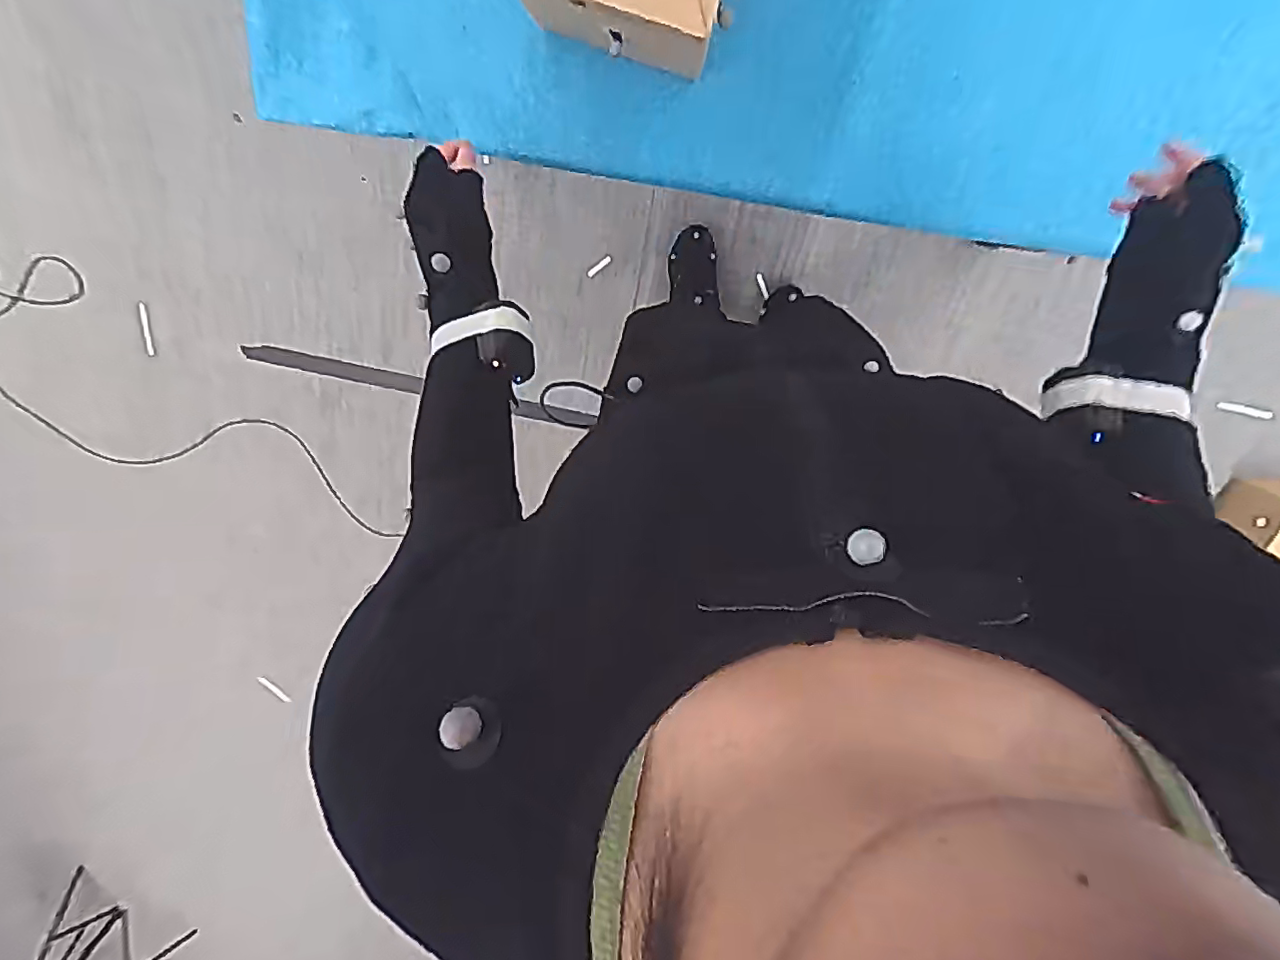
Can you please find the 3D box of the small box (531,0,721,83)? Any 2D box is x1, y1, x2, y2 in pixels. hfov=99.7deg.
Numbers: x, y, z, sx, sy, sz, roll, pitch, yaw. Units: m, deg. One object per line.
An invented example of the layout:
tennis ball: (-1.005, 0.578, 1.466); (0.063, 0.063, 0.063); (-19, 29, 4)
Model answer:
small box: (-0.001, -0.466, 0.440); (0.168, 0.176, 0.179); (15, 117, -5)

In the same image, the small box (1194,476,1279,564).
small box: (1.675, 0.106, 1.455); (0.168, 0.176, 0.179); (7, 117, 0)
